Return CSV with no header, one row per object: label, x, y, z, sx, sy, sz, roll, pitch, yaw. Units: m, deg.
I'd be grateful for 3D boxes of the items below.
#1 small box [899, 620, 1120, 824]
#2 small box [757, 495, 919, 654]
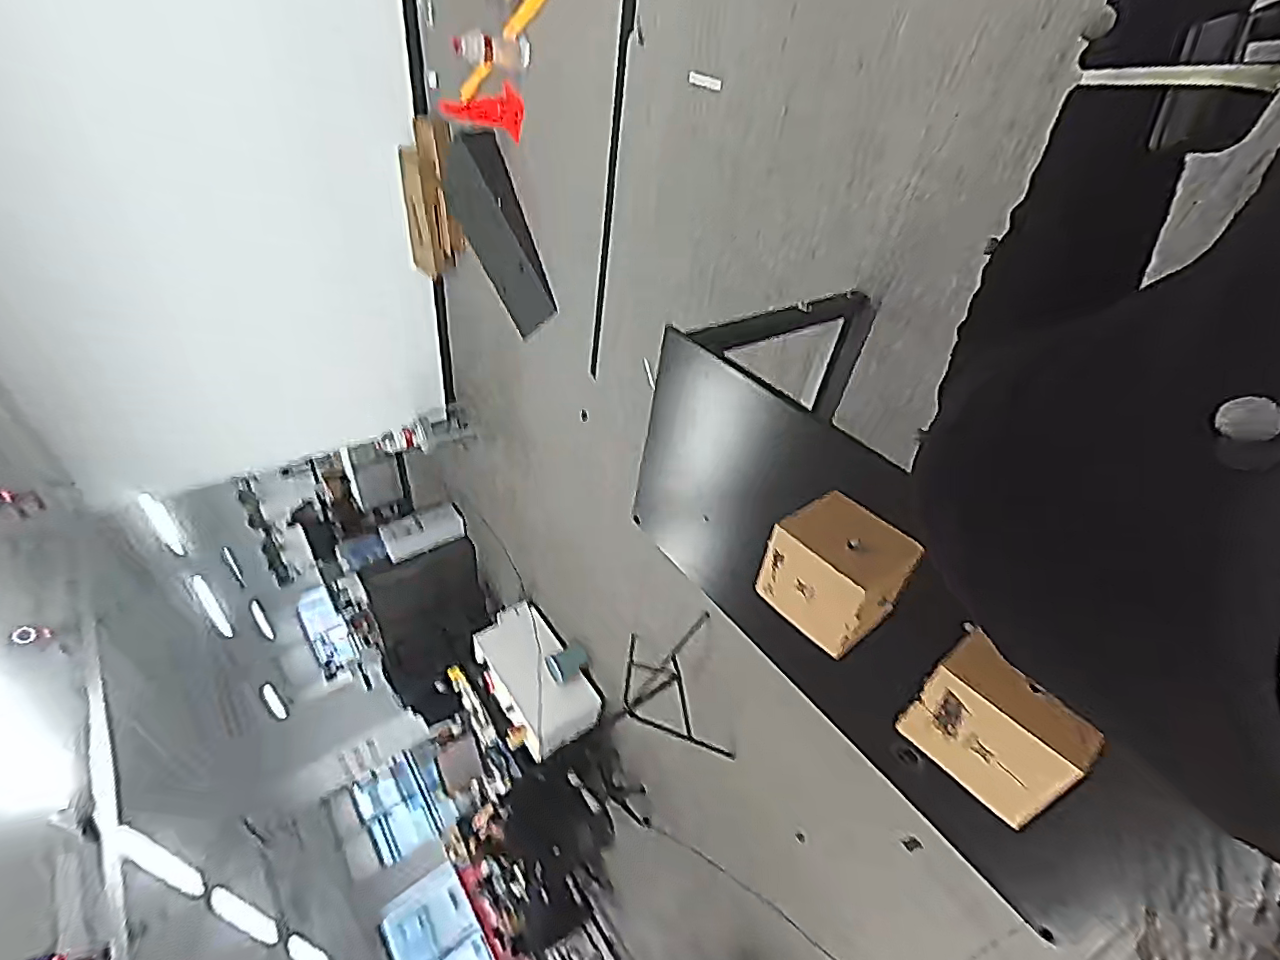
small box,0.513,0.324,0.762,0.179,0.176,0.168,39,138,35
small box,0.333,0.150,0.919,0.179,0.176,0.168,39,139,35
